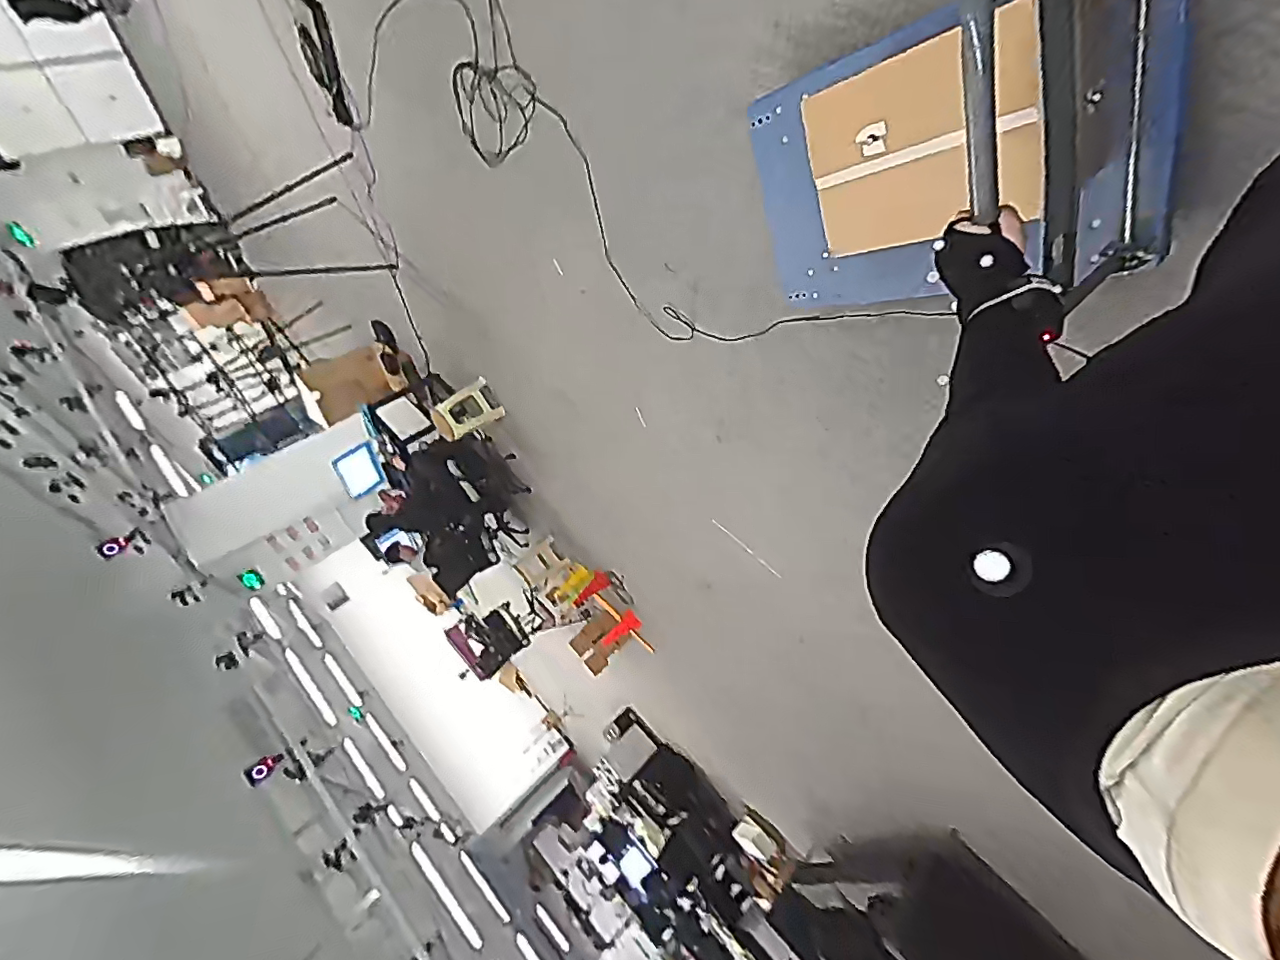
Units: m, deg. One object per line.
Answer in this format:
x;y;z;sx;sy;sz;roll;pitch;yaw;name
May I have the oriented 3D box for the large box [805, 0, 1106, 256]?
0.605;-0.676;1.046;0.408;0.320;0.320;13;131;51;large box
